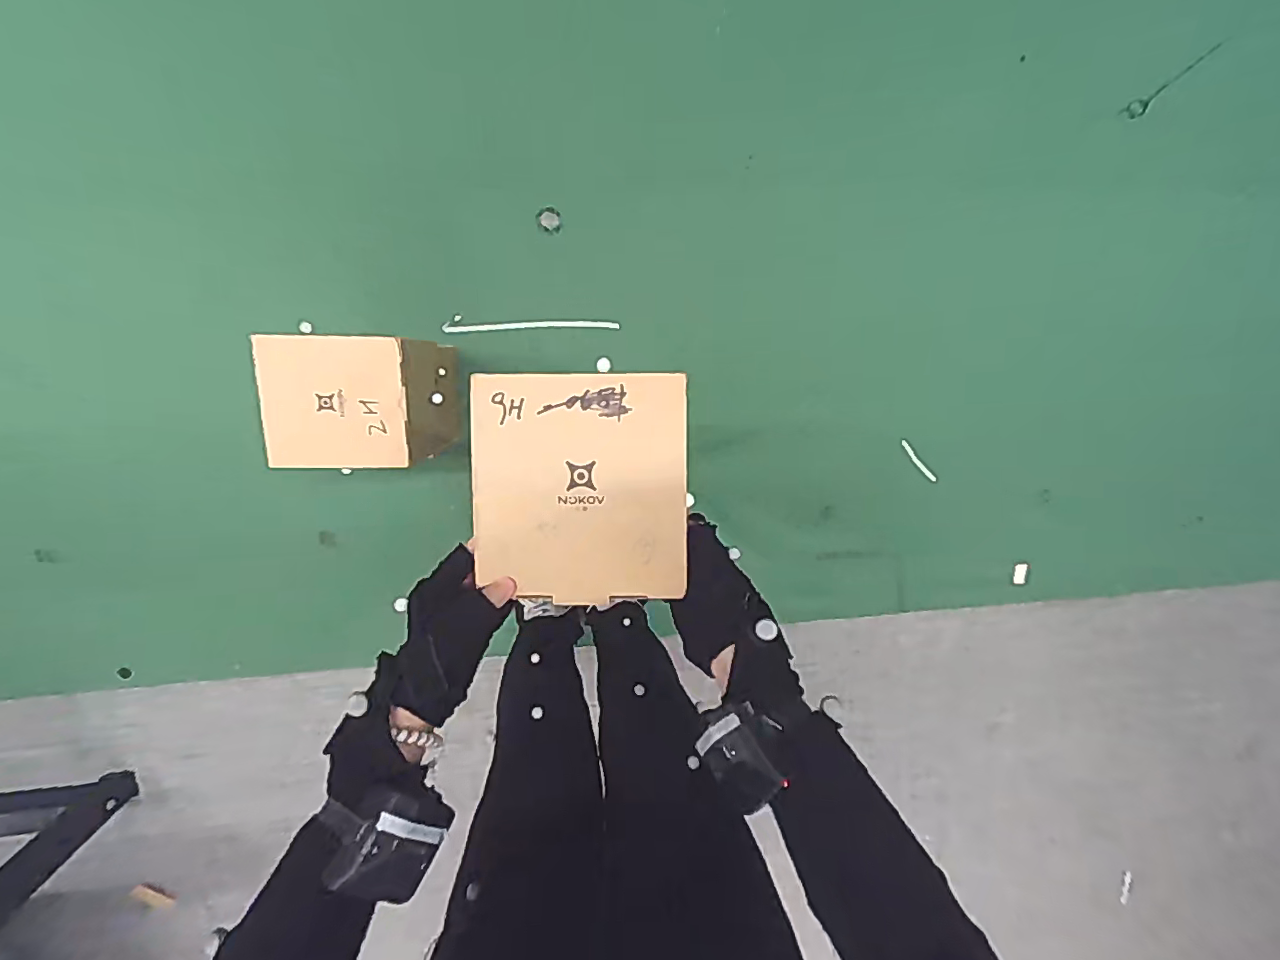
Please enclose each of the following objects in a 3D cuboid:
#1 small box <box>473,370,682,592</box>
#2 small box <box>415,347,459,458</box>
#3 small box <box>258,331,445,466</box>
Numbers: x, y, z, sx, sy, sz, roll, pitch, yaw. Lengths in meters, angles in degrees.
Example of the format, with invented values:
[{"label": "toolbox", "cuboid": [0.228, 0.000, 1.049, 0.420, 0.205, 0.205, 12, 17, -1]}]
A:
[{"label": "small box", "cuboid": [-0.046, -0.005, 0.504, 0.168, 0.176, 0.179, 0, 94, 2]}, {"label": "small box", "cuboid": [-0.410, -0.140, 0.917, 0.168, 0.176, 0.179, 1, 102, -5]}, {"label": "small box", "cuboid": [-0.386, -0.115, 0.755, 0.179, 0.176, 0.168, 1, 102, -5]}]
